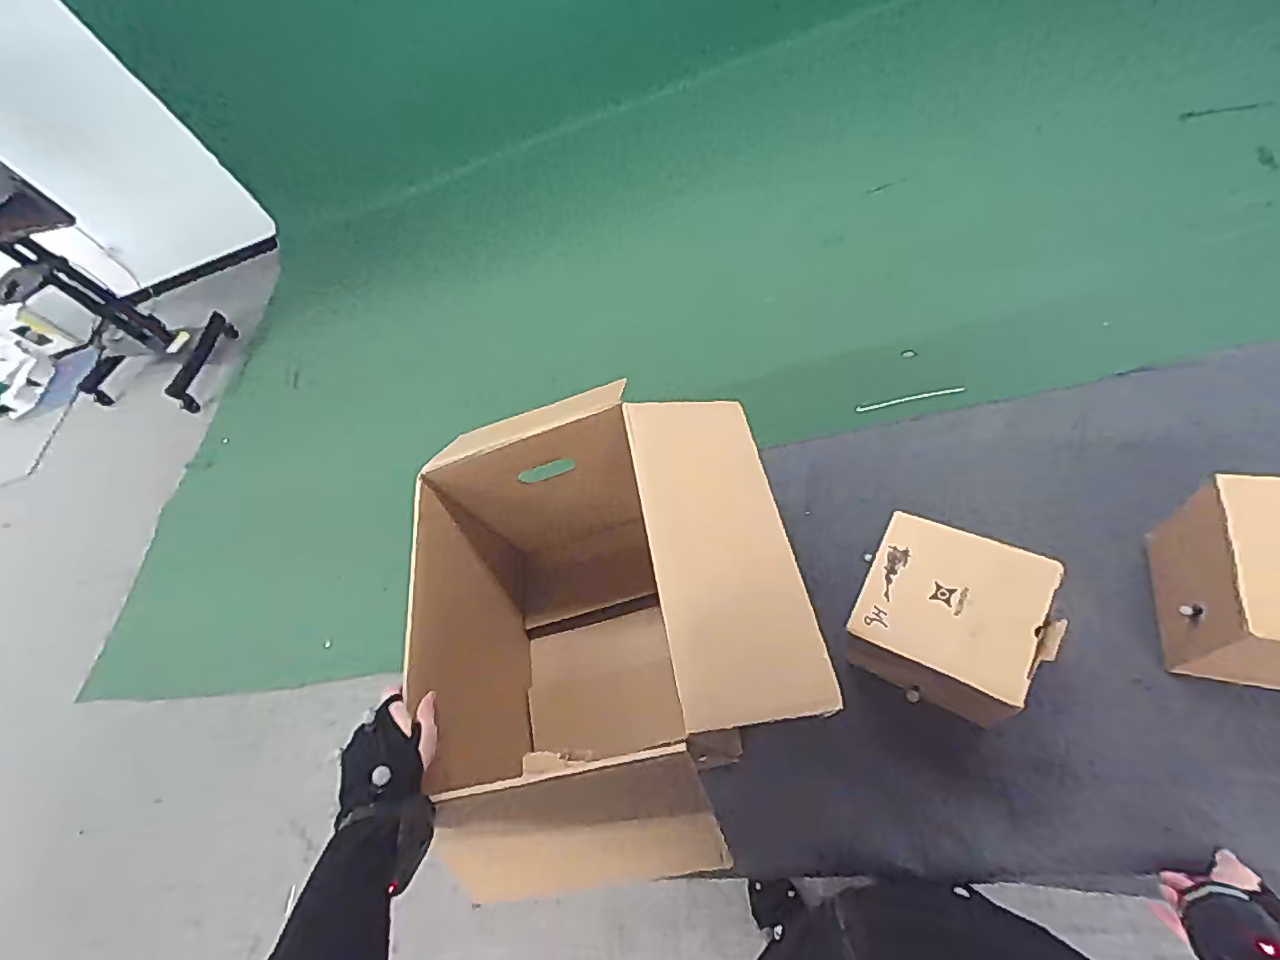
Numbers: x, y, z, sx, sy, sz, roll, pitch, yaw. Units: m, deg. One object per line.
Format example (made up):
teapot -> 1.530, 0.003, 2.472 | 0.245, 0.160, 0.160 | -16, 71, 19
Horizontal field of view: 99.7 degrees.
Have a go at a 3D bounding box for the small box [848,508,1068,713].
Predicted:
small box -> 0.373, 0.165, 0.663 | 0.179, 0.176, 0.168 | 22, 71, 30

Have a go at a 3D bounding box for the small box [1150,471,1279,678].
small box -> 0.687, 0.110, 0.570 | 0.168, 0.176, 0.179 | 5, 62, 23
